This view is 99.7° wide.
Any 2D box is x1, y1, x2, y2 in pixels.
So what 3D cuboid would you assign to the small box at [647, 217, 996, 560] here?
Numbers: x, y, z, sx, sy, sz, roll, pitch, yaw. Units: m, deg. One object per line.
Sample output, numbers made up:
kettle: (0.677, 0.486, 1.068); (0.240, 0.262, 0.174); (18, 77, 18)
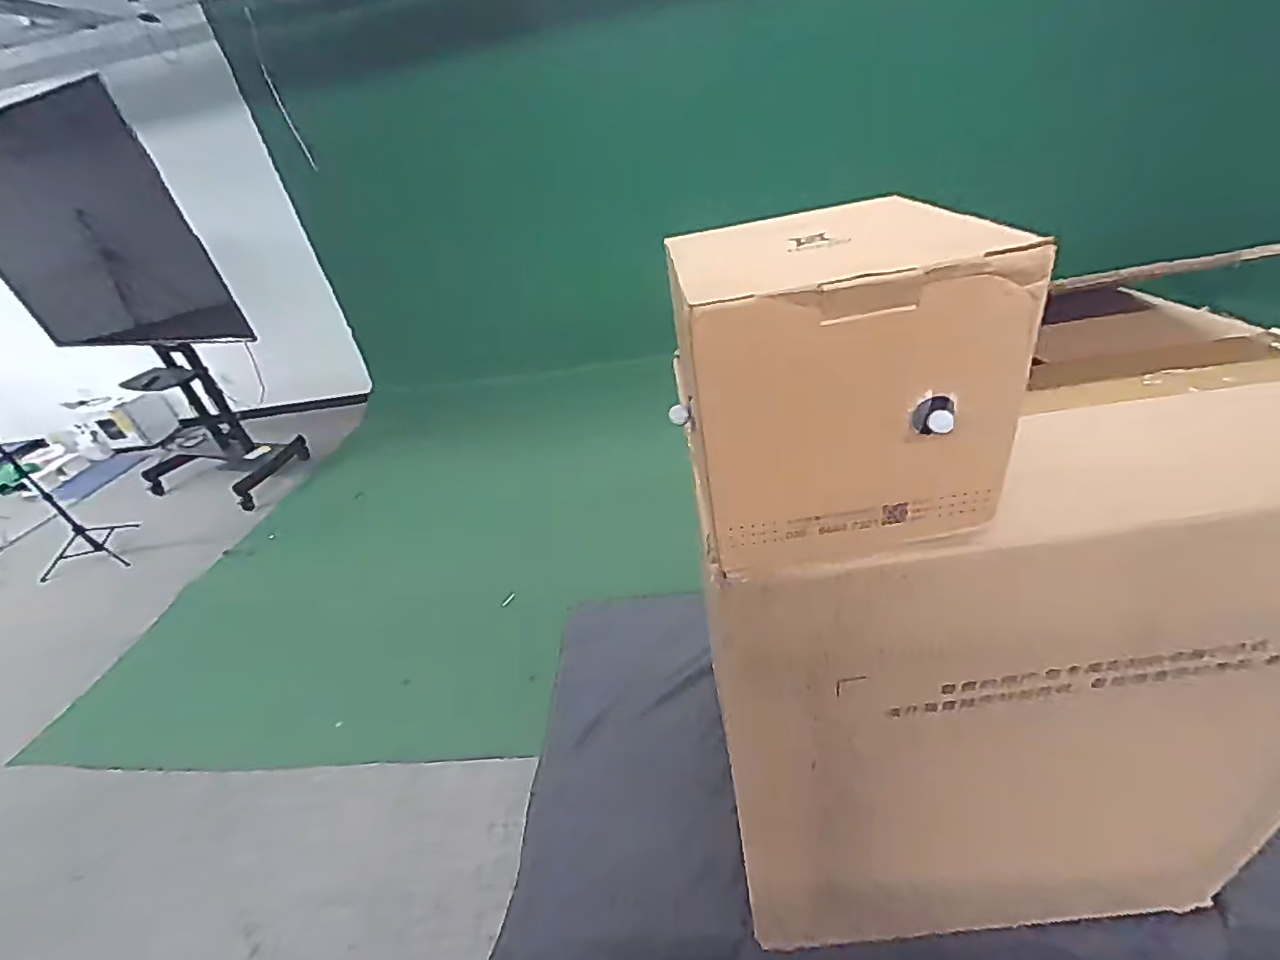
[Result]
small box: (0.101, -0.061, 0.368); (0.168, 0.176, 0.179); (-9, 32, 5)
